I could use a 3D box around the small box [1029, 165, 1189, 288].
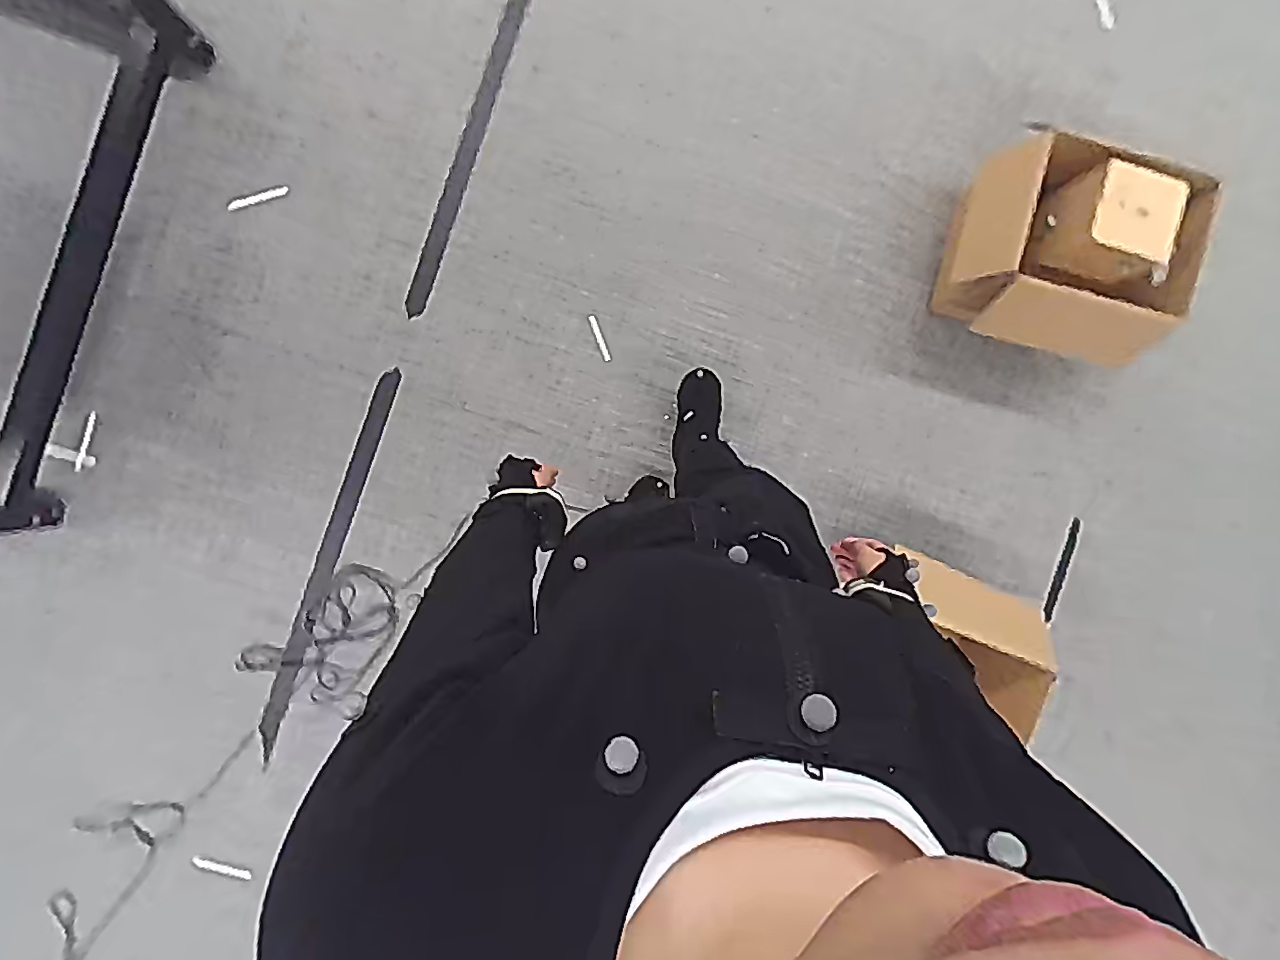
[{"bbox_3d":[1.001,-0.534,1.168,0.179,0.176,0.168,16,91,-4],"label":"small box"}]
